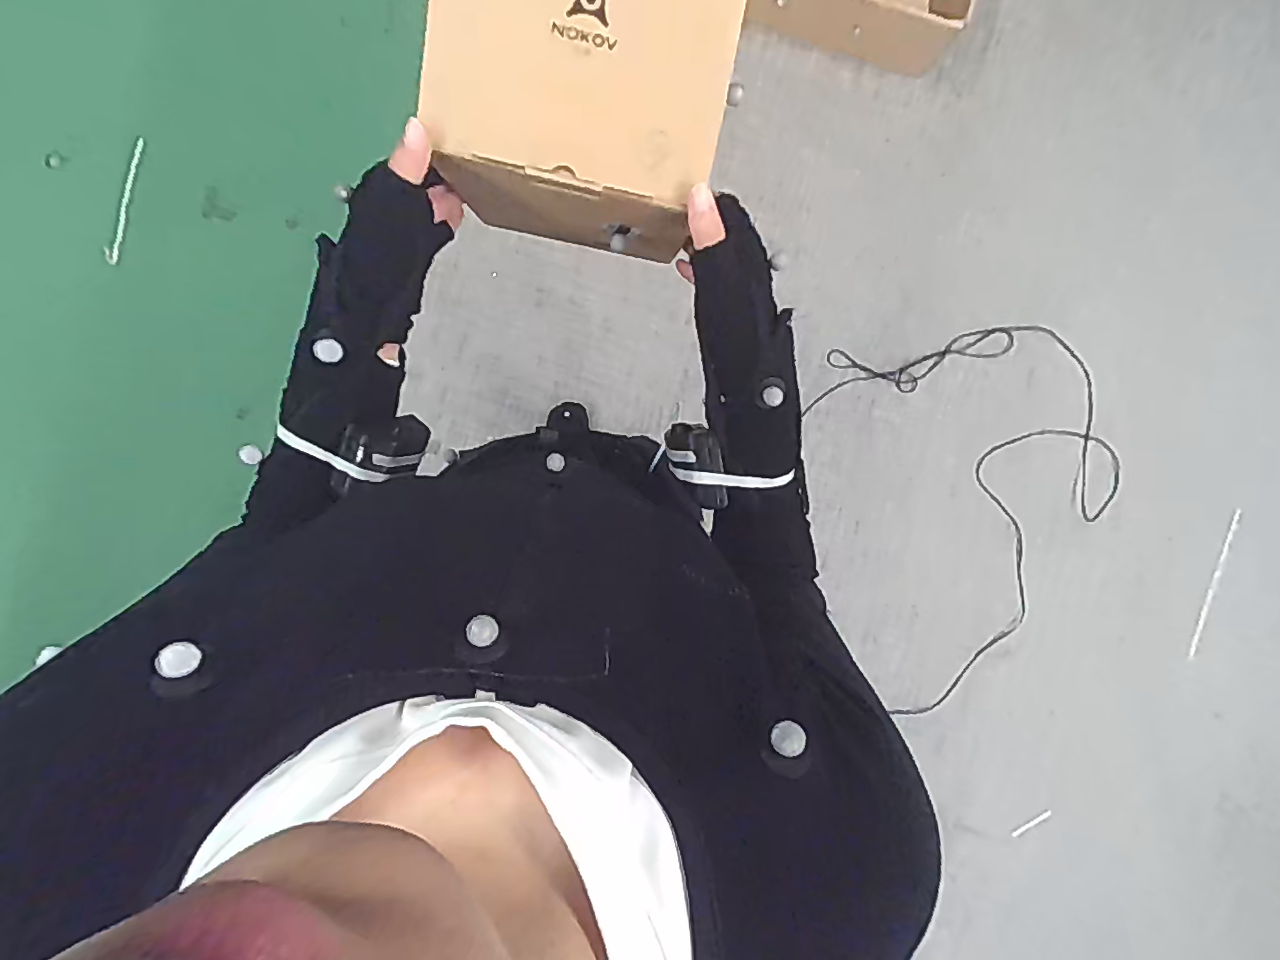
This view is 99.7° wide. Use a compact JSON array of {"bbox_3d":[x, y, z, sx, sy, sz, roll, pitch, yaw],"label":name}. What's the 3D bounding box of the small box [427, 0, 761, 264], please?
[{"bbox_3d":[-0.025,-0.263,0.366,0.168,0.176,0.179,12,100,-6],"label":"small box"}]
